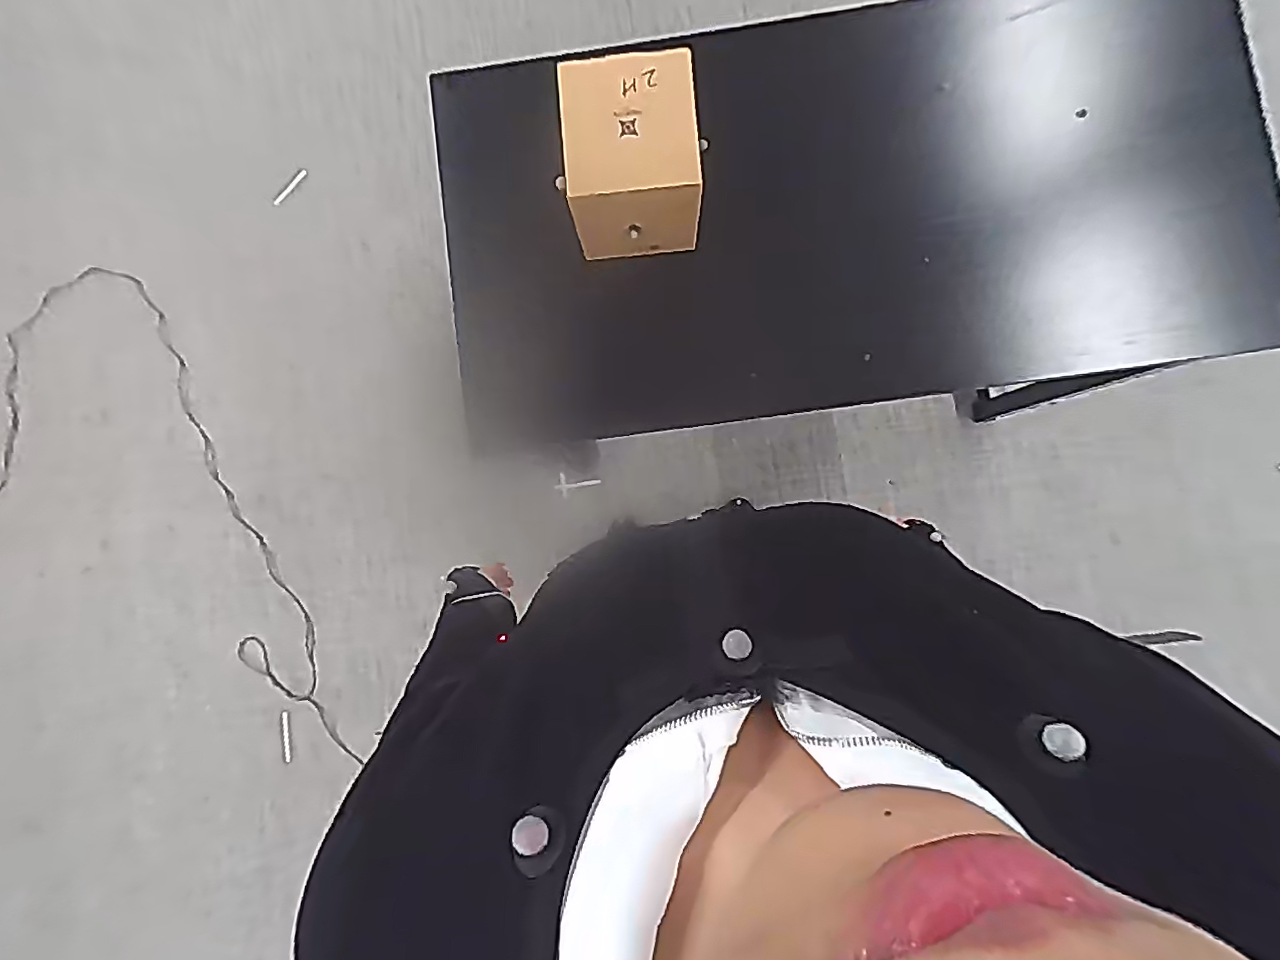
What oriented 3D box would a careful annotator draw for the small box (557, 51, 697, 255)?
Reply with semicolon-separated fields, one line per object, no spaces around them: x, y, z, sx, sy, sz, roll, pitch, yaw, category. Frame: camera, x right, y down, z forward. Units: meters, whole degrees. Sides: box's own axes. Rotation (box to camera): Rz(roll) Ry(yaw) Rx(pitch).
-0.011;-0.426;0.738;0.168;0.176;0.179;-5;85;3;small box
